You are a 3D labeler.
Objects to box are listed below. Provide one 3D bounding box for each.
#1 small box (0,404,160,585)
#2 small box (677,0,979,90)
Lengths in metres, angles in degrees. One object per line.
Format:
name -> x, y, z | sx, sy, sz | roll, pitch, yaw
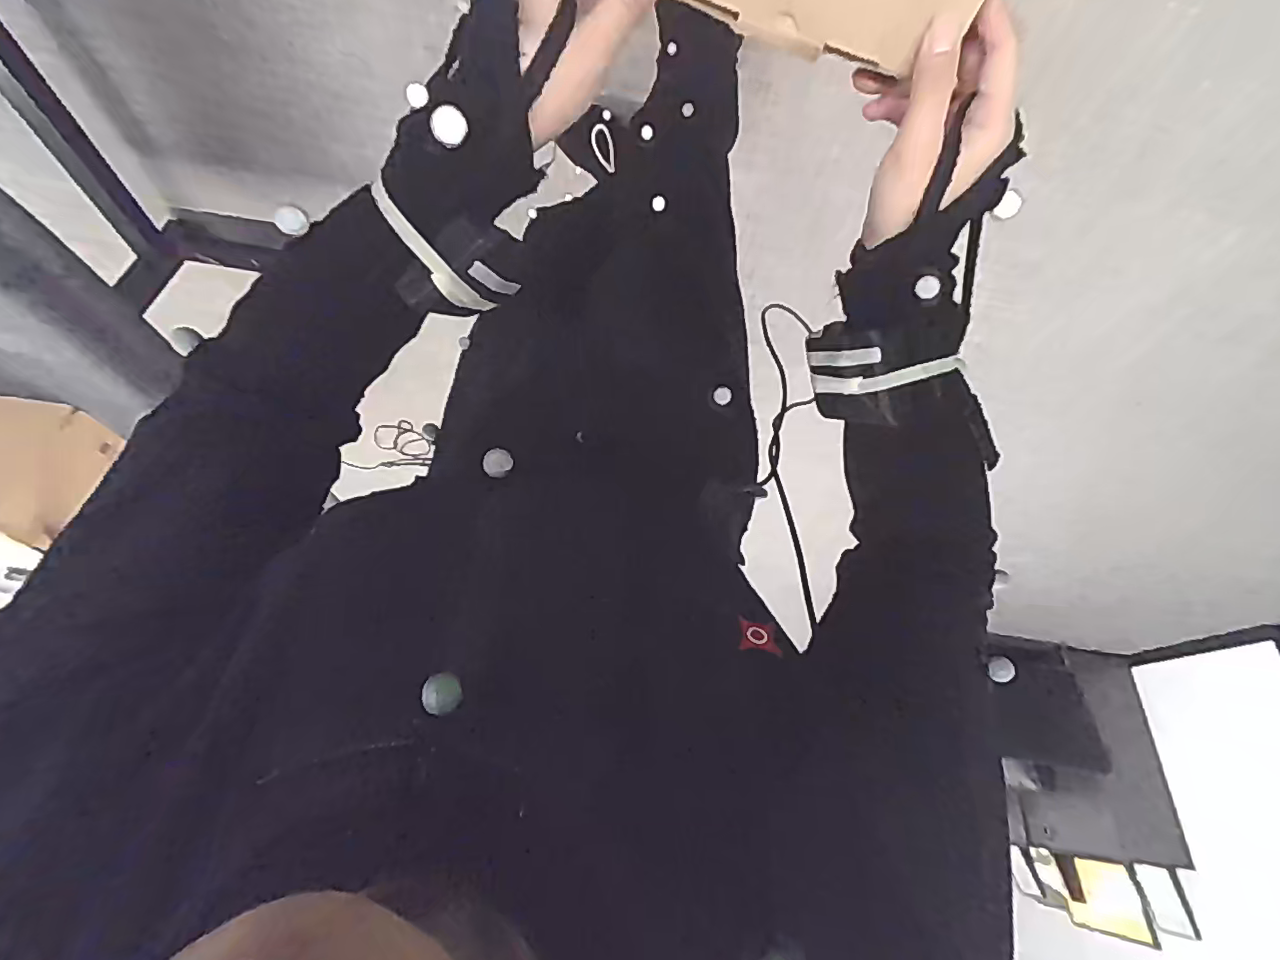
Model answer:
small box -> -0.778, 0.016, 0.679 | 0.179, 0.176, 0.168 | 7, 150, 0
small box -> 0.094, -0.327, 0.242 | 0.168, 0.176, 0.179 | 12, 142, -10
